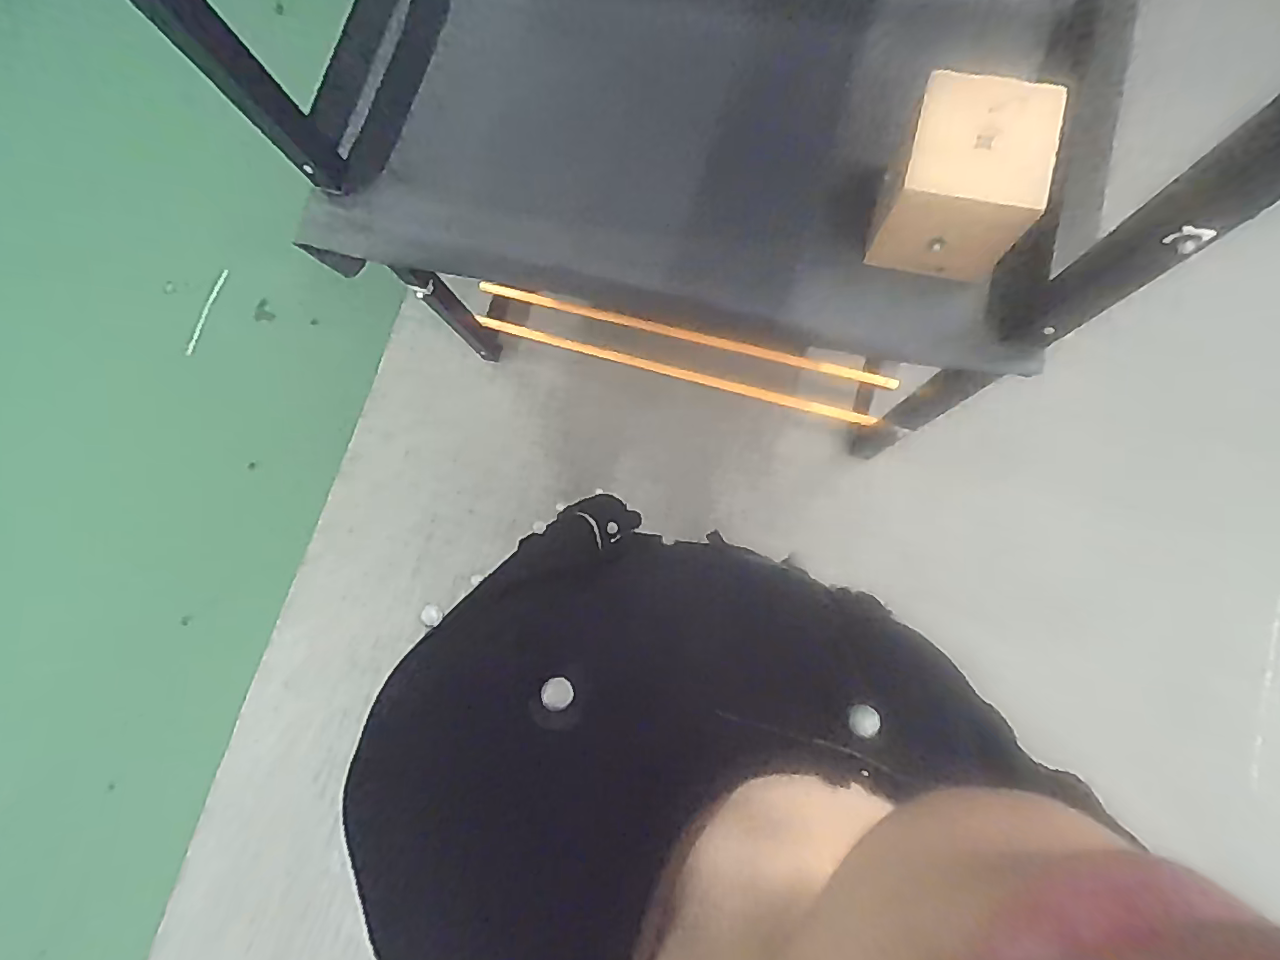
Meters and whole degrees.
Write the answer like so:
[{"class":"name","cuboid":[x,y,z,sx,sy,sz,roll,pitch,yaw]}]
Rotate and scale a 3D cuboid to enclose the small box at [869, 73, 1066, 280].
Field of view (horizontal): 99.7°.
[{"class":"small box","cuboid":[0.433,-0.404,0.744,0.168,0.176,0.179,14,81,8]}]
